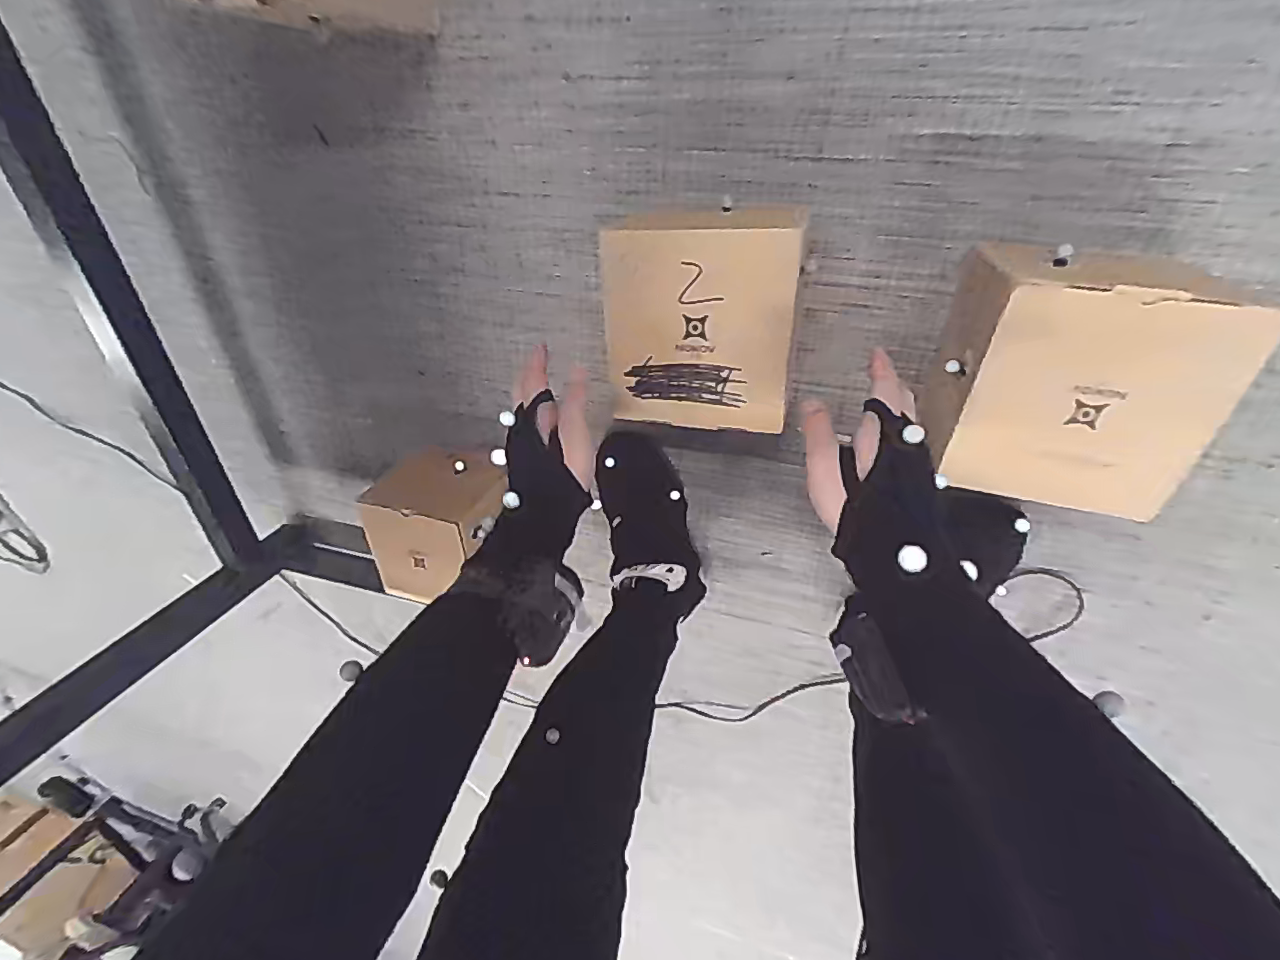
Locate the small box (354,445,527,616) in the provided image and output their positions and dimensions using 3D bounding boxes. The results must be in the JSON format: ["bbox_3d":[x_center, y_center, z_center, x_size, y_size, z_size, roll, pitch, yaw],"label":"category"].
[{"bbox_3d":[-0.286,0.070,0.820,0.168,0.176,0.179,9,123,16],"label":"small box"}]

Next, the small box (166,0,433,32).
[{"bbox_3d":[-0.302,-0.505,0.462,0.168,0.176,0.179,12,124,14],"label":"small box"}]

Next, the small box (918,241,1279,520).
[{"bbox_3d":[0.356,-0.097,0.467,0.168,0.176,0.179,13,125,14],"label":"small box"}]
